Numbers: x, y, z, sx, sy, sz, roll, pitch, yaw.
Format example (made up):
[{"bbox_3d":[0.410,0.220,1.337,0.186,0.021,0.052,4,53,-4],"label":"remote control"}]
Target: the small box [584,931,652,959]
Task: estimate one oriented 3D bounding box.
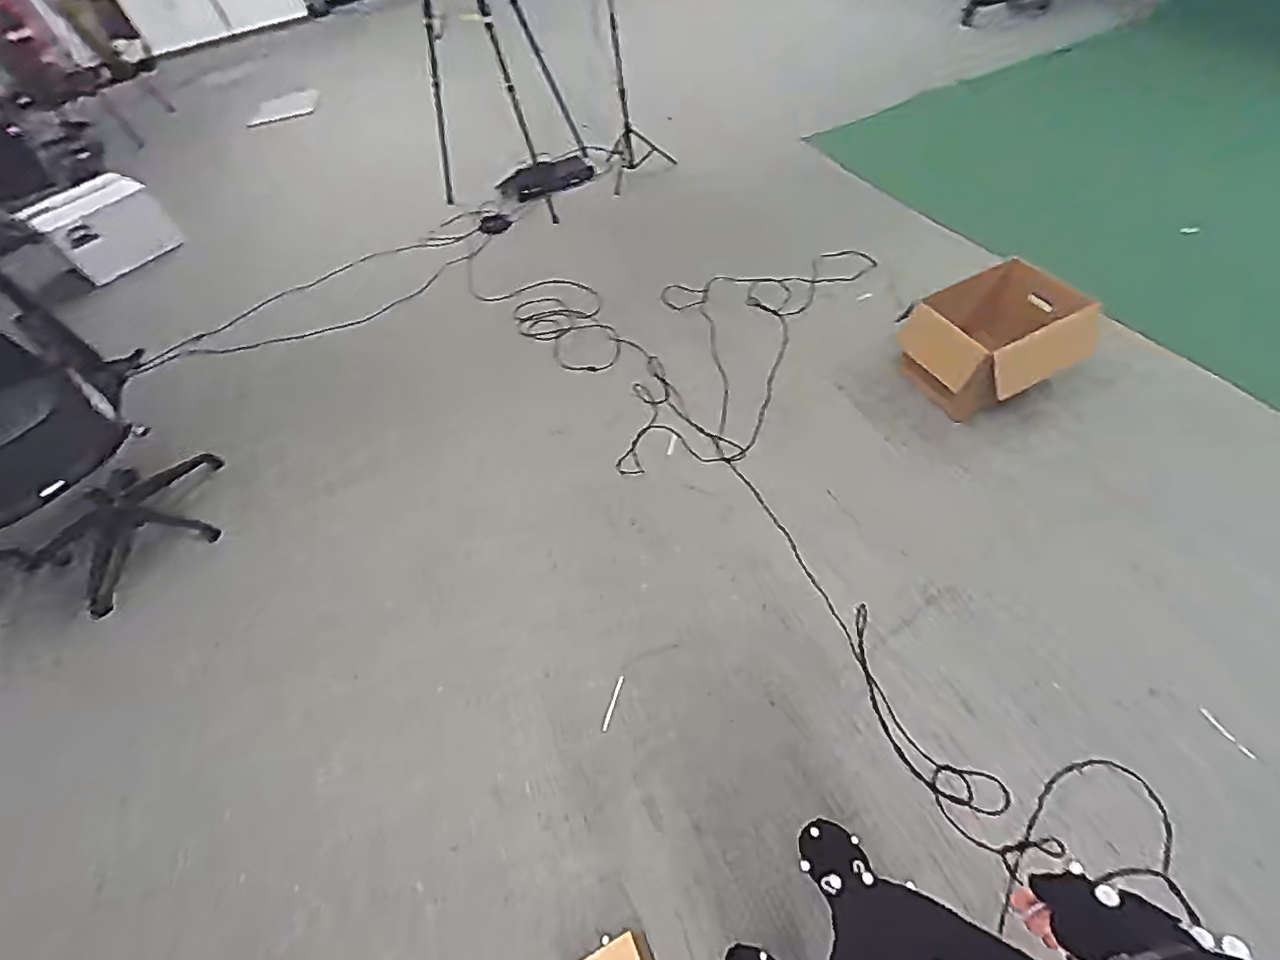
[{"bbox_3d":[-0.045,0.983,1.006,0.168,0.176,0.179,-26,55,-11],"label":"small box"}]
